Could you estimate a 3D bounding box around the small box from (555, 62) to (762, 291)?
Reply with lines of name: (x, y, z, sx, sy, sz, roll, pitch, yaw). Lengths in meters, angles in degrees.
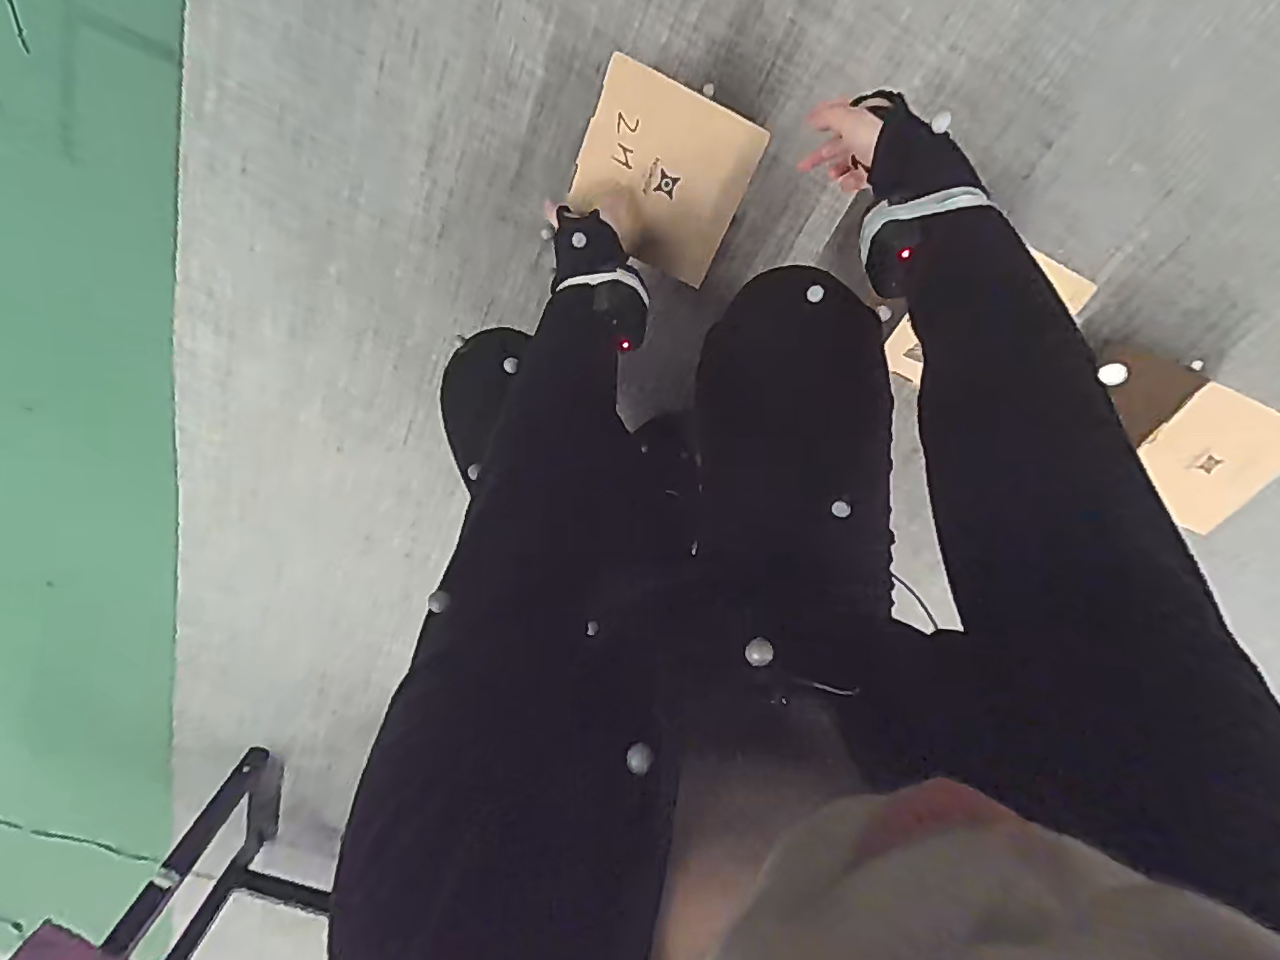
small box: (0.022, -0.355, 0.645, 0.179, 0.176, 0.168, 24, 119, -8)

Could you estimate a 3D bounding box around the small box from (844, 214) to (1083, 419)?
small box: (0.382, -0.212, 0.685, 0.168, 0.176, 0.179, 24, 119, -8)

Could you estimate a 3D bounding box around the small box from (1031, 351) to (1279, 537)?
small box: (0.696, -0.058, 0.740, 0.179, 0.176, 0.168, 22, 121, -7)
